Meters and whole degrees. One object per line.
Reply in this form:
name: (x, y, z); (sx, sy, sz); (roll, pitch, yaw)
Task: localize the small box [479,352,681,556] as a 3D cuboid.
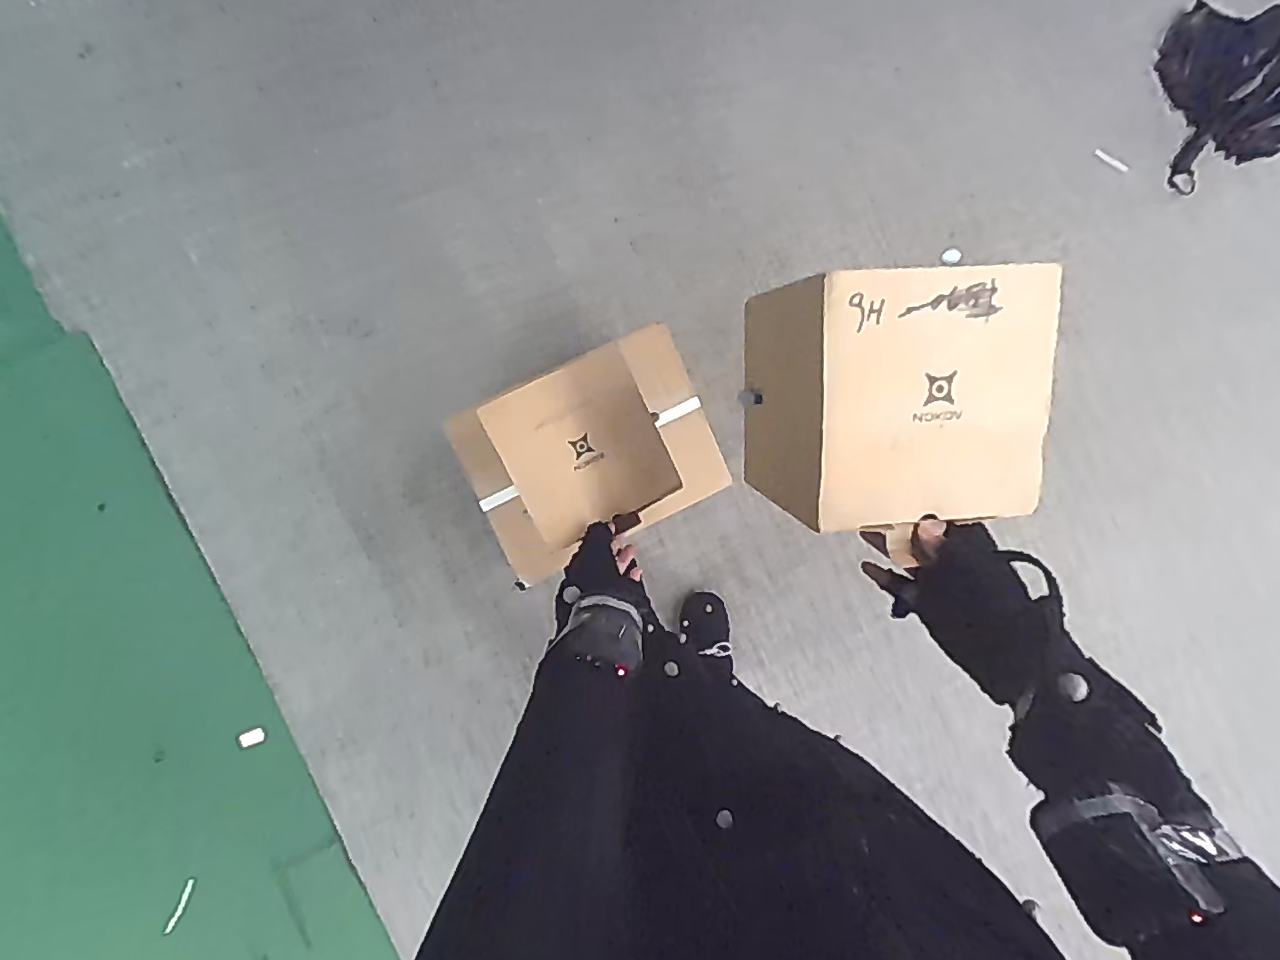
small box: (-0.072, -0.034, 0.662); (0.168, 0.176, 0.179); (-28, 98, -7)

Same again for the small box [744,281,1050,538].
small box: (0.192, -0.065, 0.456); (0.168, 0.176, 0.179); (-4, 103, -6)
